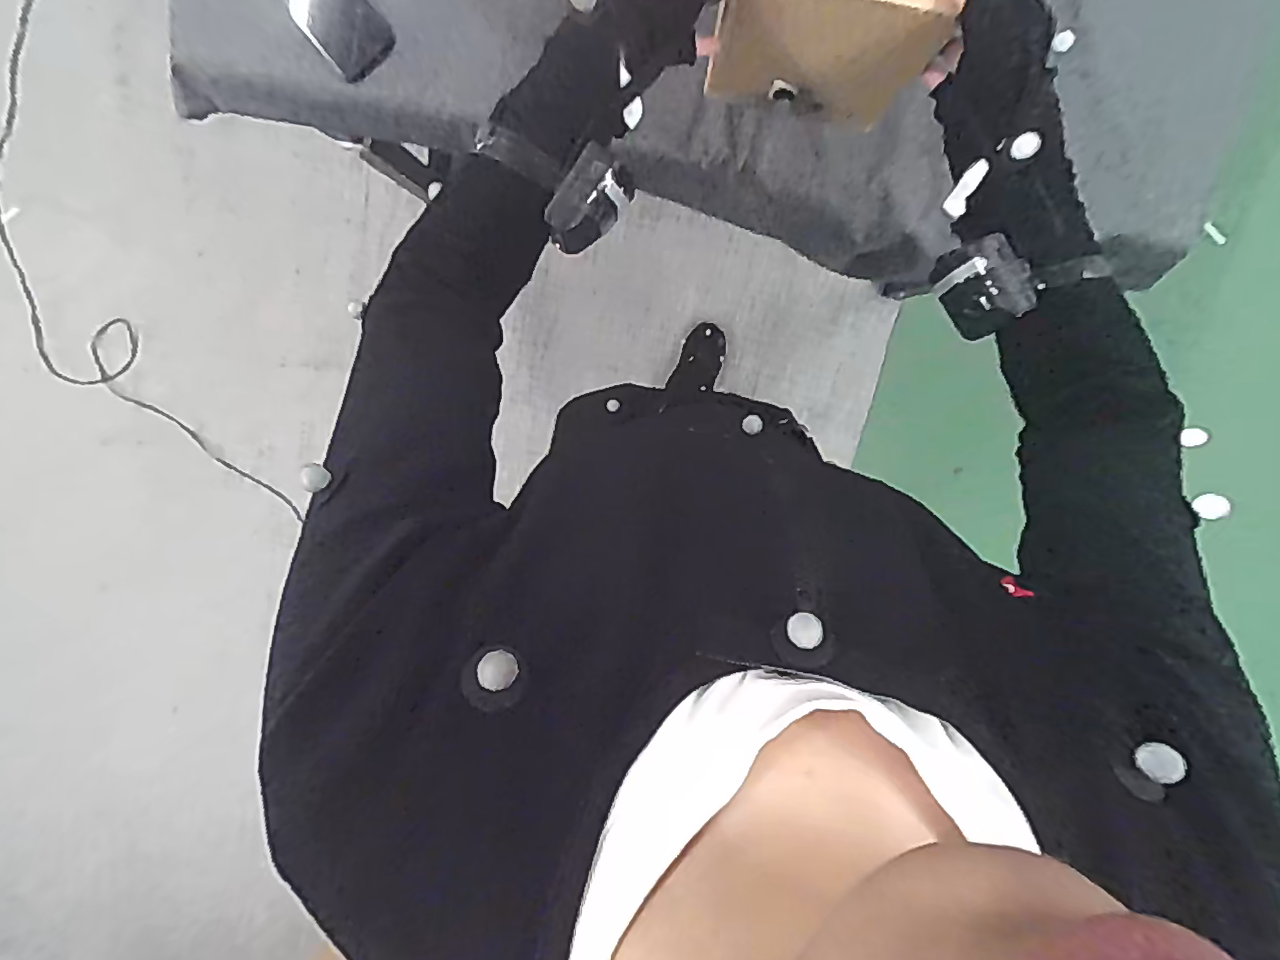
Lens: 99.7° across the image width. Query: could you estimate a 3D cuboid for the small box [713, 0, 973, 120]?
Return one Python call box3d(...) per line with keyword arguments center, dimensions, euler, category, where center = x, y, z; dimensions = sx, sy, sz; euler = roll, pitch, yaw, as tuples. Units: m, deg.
box3d(center=(0.160, -0.432, 0.431), dimensions=(0.168, 0.176, 0.179), euler=(9, 101, -2), category="small box")
